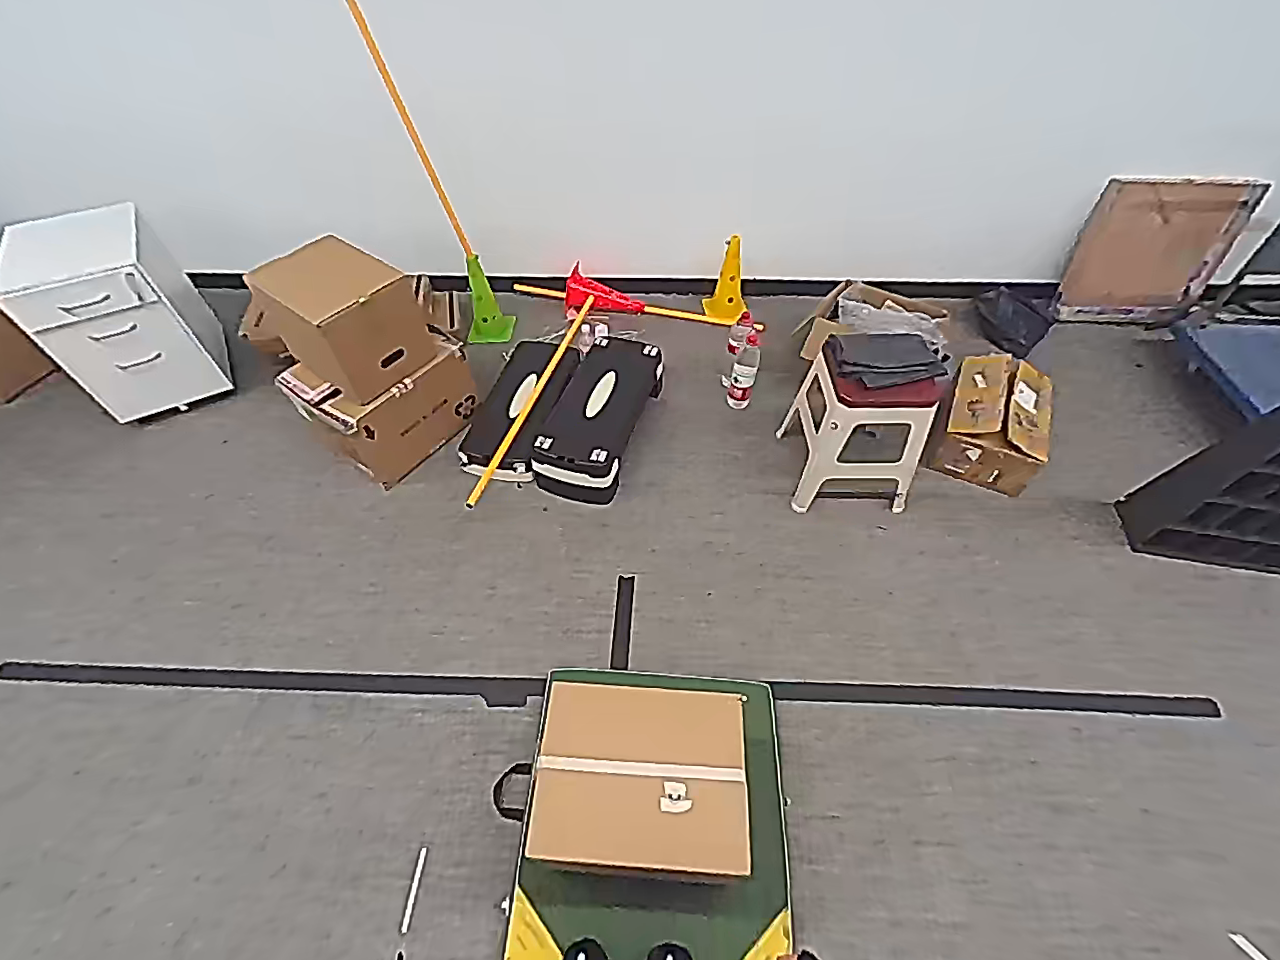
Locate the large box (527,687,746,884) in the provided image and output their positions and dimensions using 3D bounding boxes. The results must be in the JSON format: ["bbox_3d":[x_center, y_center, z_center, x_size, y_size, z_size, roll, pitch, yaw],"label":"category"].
[{"bbox_3d":[-0.004,0.668,1.175,0.408,0.320,0.320,4,51,1],"label":"large box"}]
